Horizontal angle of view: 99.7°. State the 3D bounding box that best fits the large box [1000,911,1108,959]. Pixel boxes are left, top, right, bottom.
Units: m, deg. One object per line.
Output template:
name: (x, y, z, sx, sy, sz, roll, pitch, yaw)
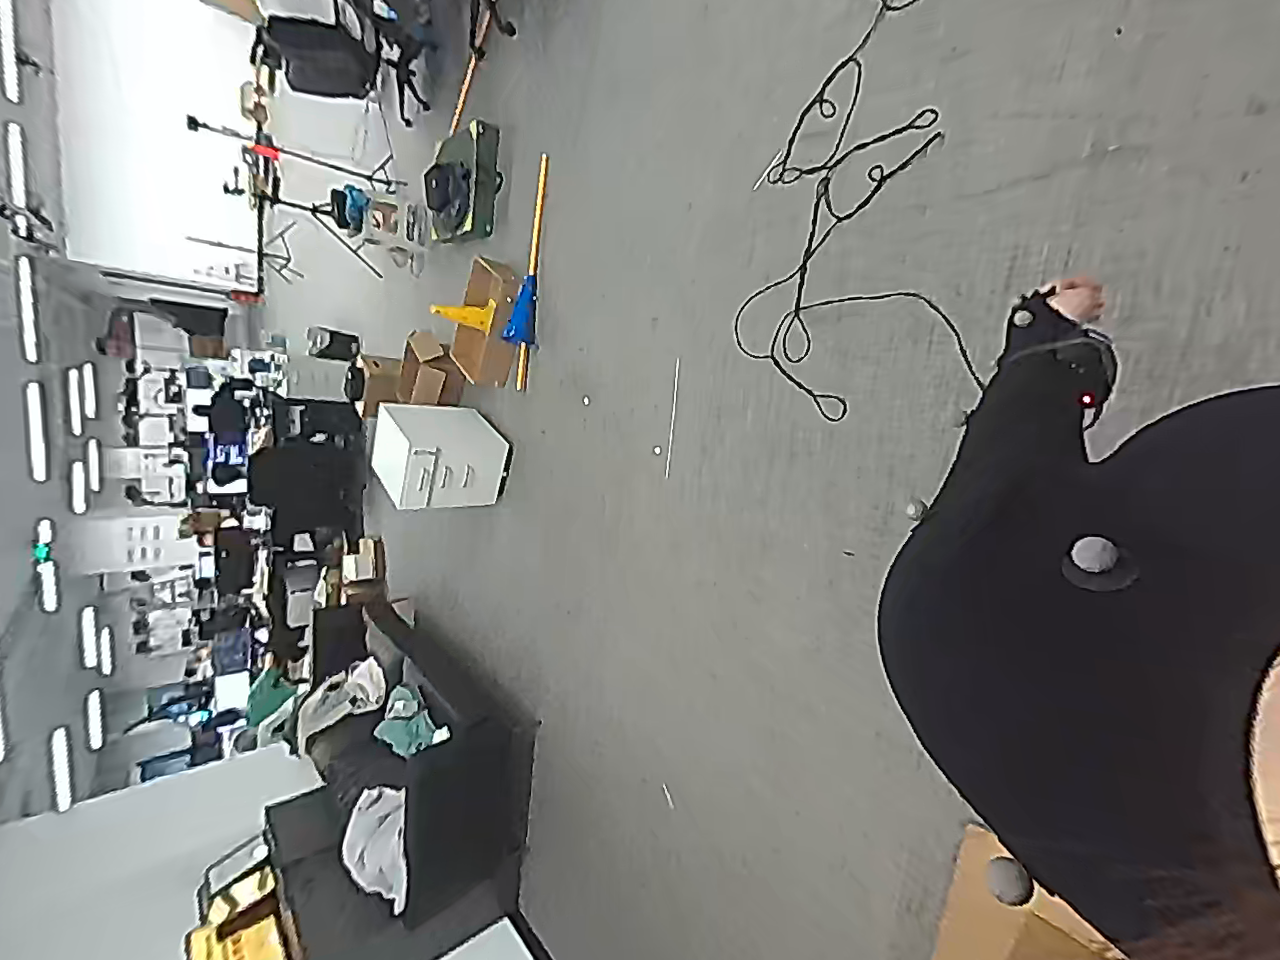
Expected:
large box: (0.937, 1.215, 1.078, 0.408, 0.320, 0.320, 16, 103, 48)
